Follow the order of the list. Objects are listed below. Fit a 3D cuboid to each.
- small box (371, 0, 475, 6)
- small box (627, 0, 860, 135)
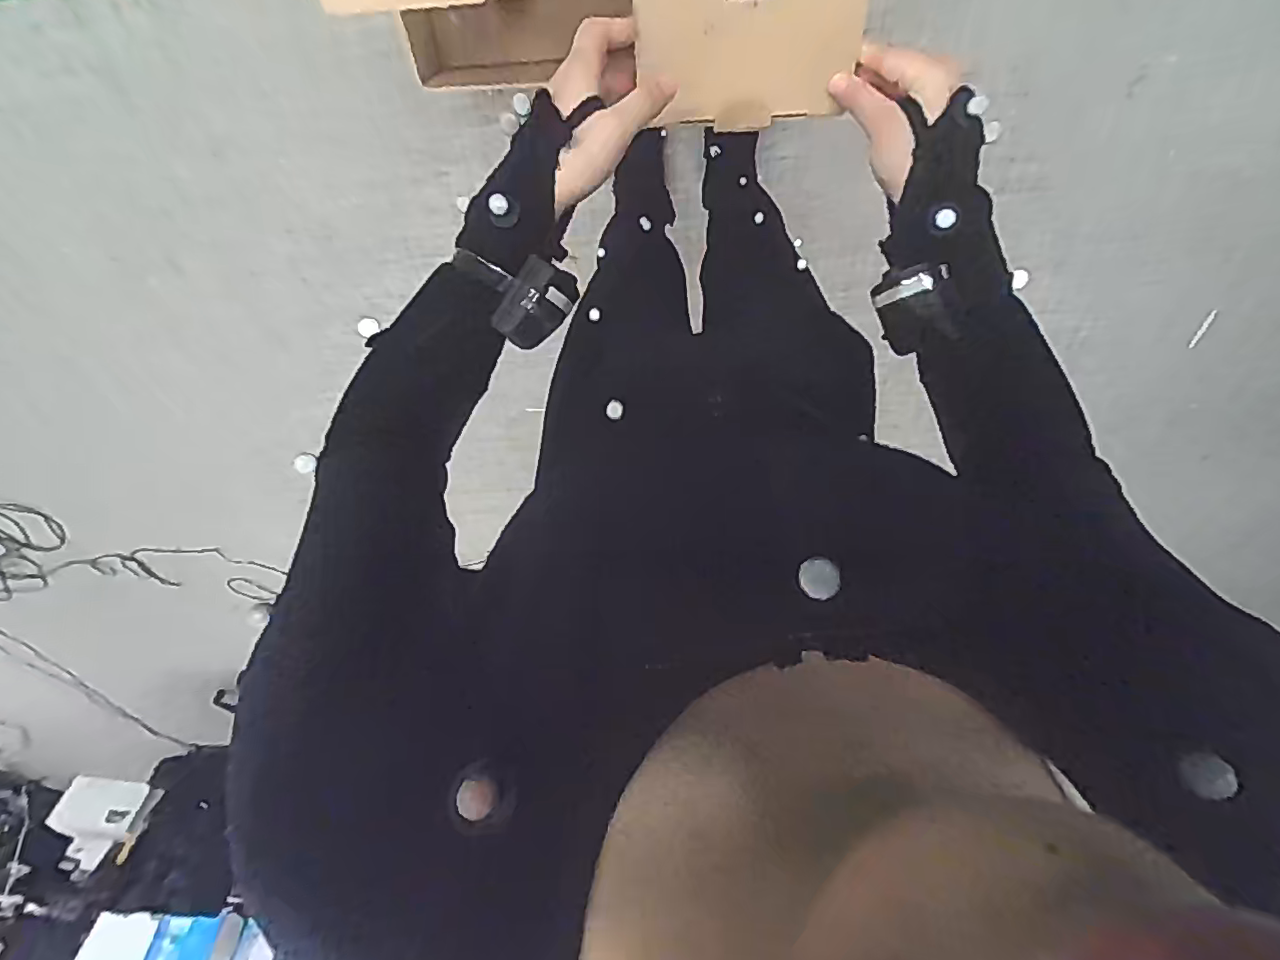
[{"bbox_3d":[-0.259,-0.718,0.682,0.179,0.176,0.168,-3,136,2],"label":"small box"},{"bbox_3d":[0.074,-0.402,0.425,0.168,0.176,0.179,-2,140,4],"label":"small box"}]
